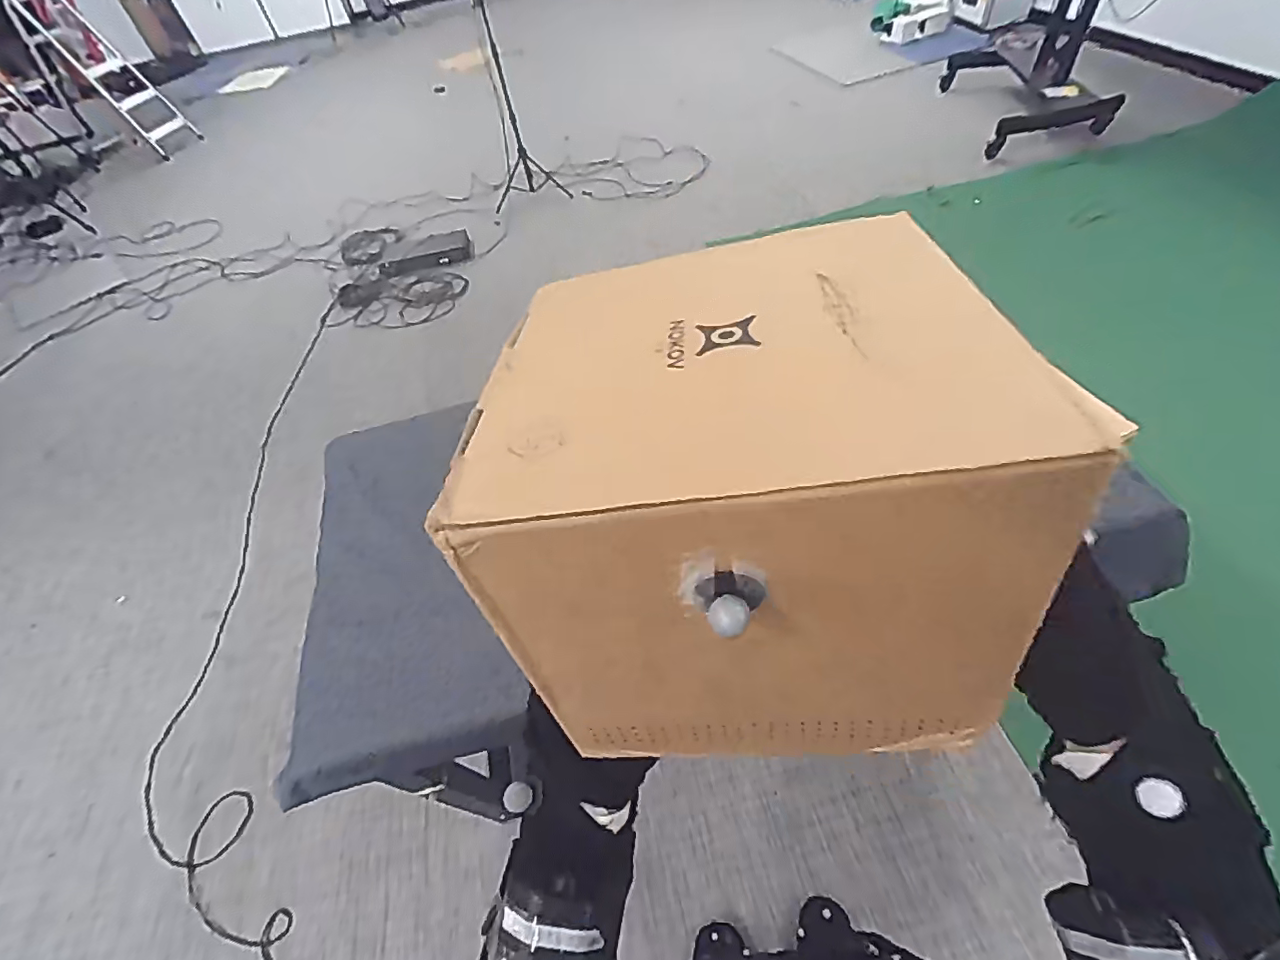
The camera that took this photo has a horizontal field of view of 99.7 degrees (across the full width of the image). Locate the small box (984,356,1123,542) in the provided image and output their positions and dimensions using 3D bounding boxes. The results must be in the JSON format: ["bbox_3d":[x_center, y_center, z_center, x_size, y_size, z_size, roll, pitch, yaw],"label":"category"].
[{"bbox_3d":[0.479,-0.033,0.742,0.168,0.176,0.179,-19,50,-5],"label":"small box"}]

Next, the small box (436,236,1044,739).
[{"bbox_3d":[0.042,0.009,0.261,0.179,0.176,0.168,-7,41,10],"label":"small box"}]
